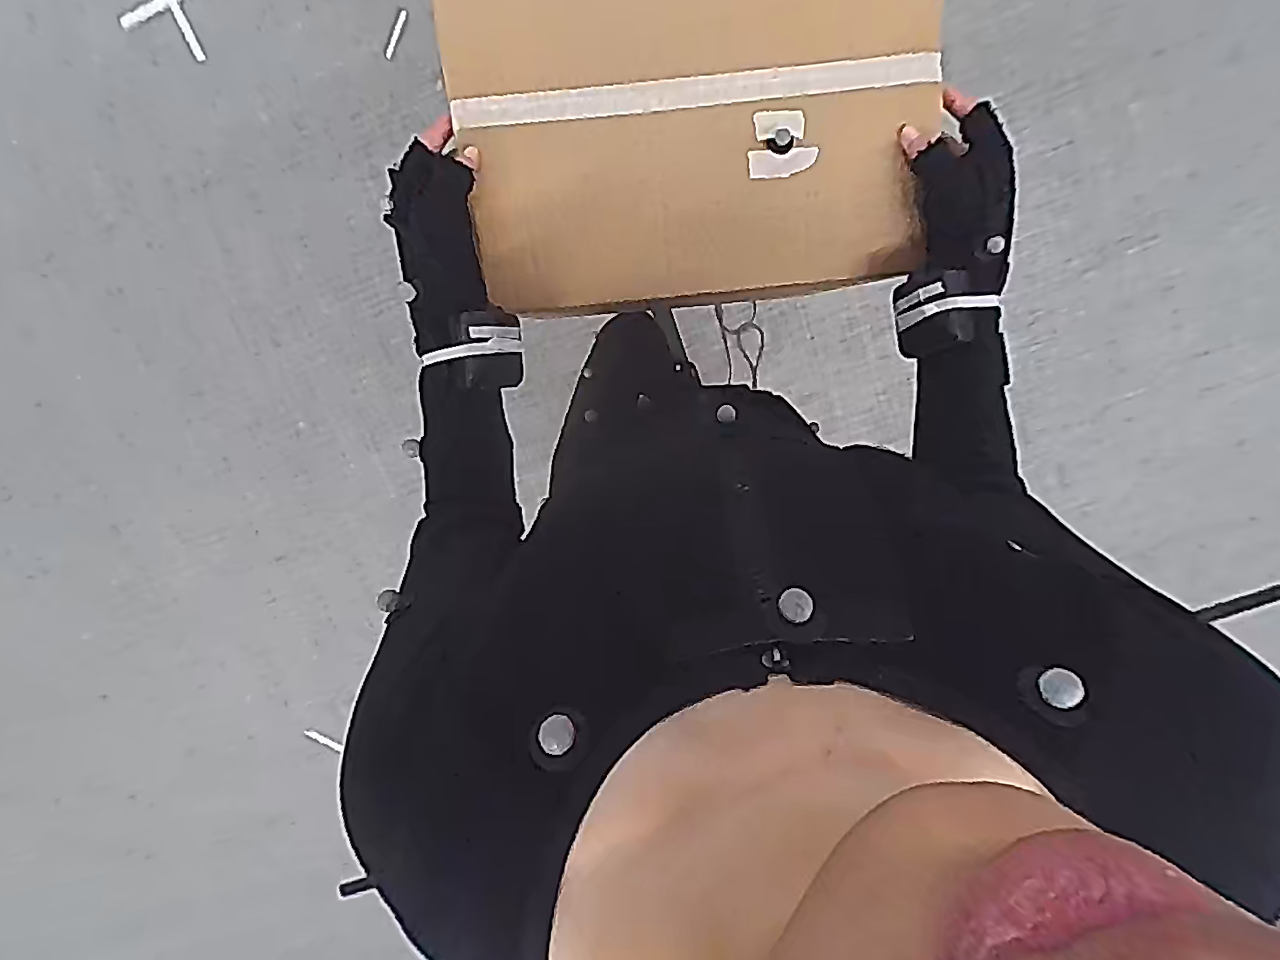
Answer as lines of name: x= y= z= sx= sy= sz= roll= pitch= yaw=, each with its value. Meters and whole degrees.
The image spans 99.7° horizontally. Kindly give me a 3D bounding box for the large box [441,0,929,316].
large box: x=0.038 y=-0.368 z=0.601 sx=0.408 sy=0.320 sz=0.320 roll=-5 pitch=105 yaw=-1
